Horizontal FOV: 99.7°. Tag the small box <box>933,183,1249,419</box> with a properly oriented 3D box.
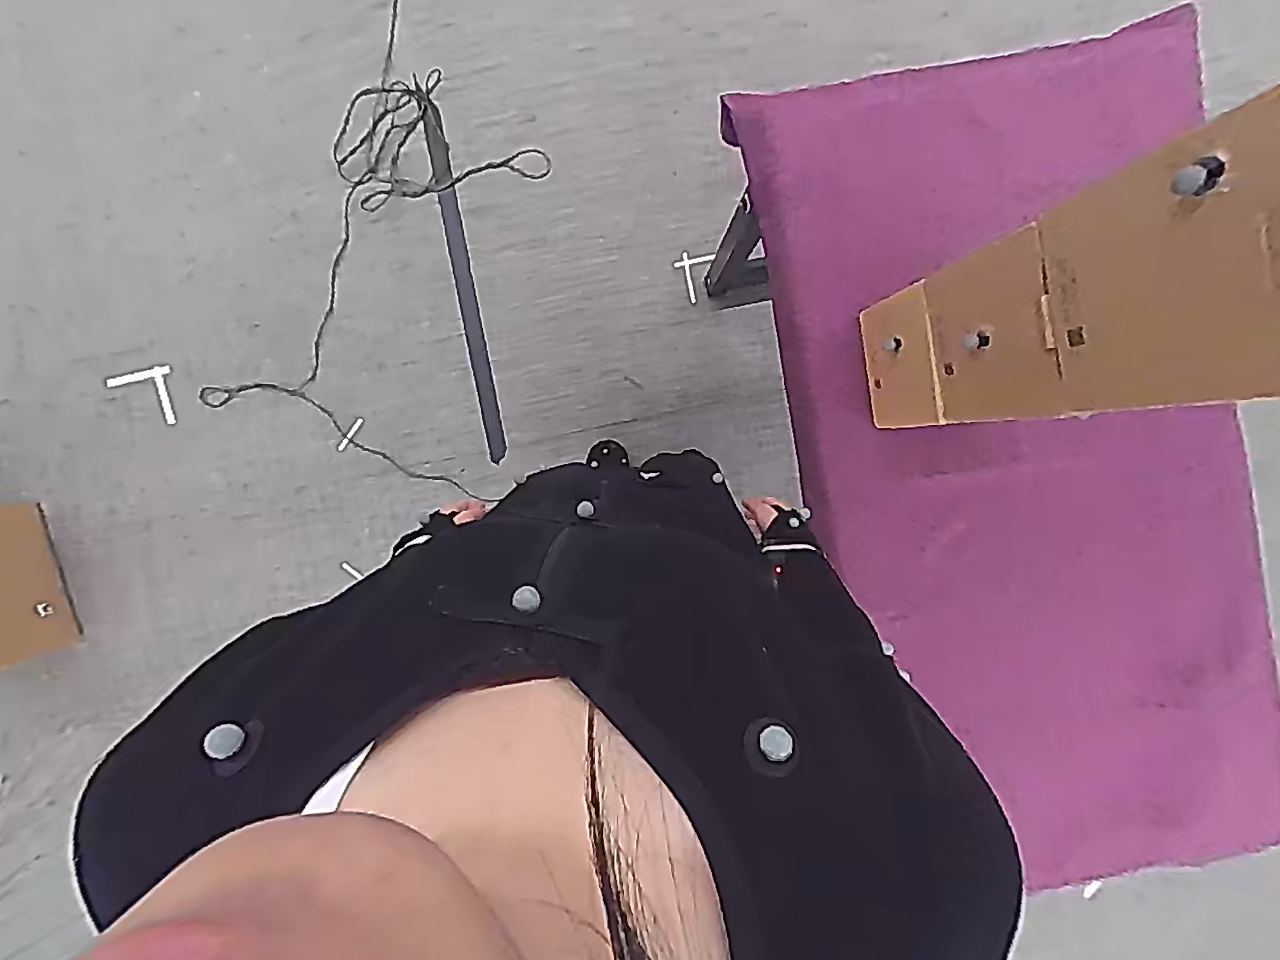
[{"bbox_3d":[0.420,-0.158,0.538,0.179,0.176,0.168,-12,94,-1],"label":"small box"}]

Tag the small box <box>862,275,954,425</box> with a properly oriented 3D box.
[{"bbox_3d":[0.408,-0.166,0.701,0.179,0.176,0.168,-10,94,-2],"label":"small box"}]
